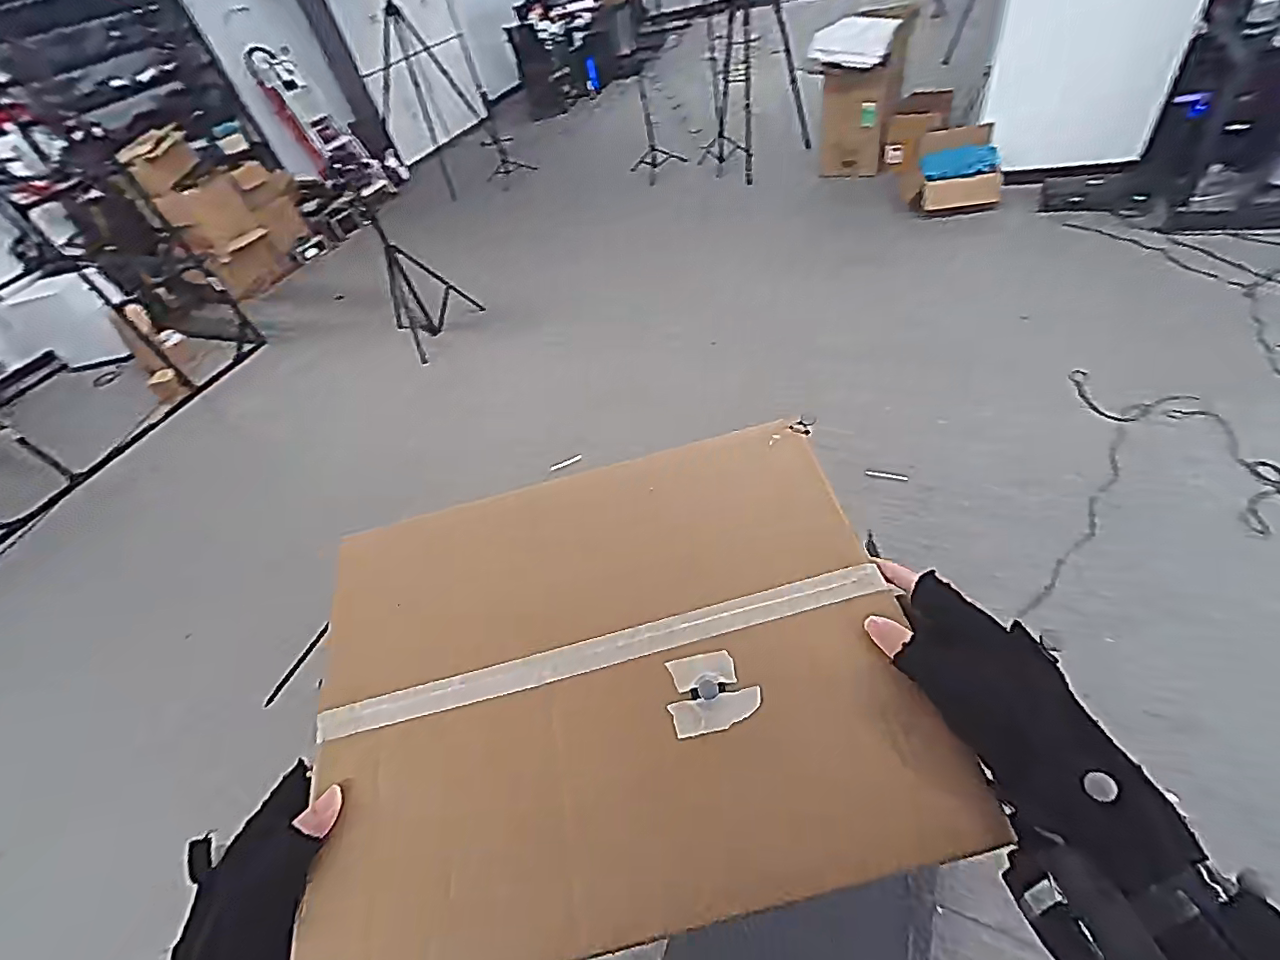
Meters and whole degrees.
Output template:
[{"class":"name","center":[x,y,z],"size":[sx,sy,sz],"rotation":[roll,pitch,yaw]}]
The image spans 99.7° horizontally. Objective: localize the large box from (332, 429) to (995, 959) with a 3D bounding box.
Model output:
[{"class":"large box","center":[0.004,0.209,0.513],"size":[0.408,0.320,0.320],"rotation":[-15,55,0]}]
